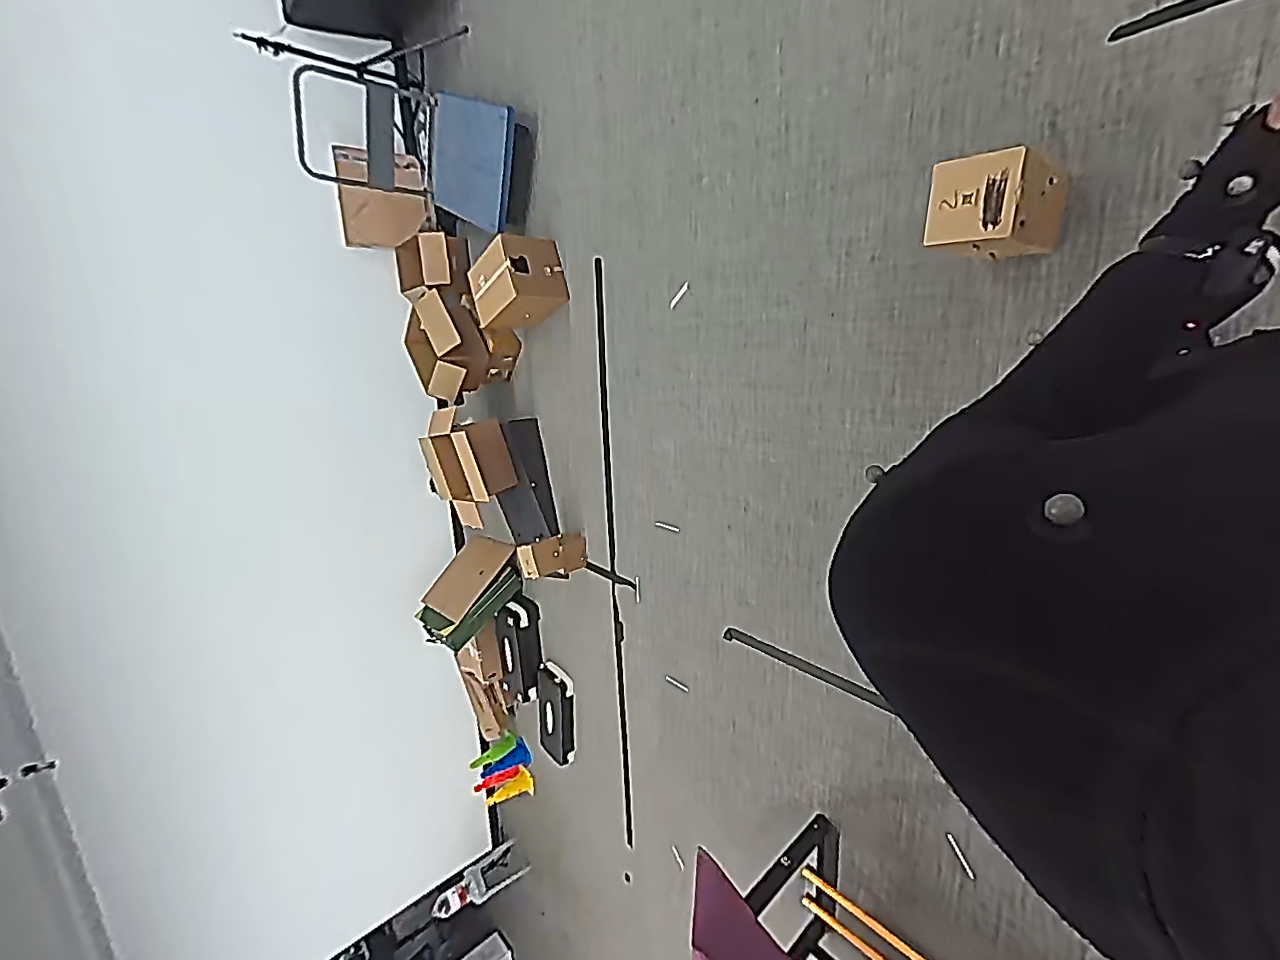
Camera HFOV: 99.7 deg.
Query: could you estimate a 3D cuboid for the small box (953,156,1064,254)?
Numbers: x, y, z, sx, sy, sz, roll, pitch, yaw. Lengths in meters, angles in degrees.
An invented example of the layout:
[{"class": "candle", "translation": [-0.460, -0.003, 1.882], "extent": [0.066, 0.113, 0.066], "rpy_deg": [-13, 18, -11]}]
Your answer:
[{"class": "small box", "translation": [0.868, -0.634, 1.273], "extent": [0.168, 0.176, 0.179], "rpy_deg": [16, 112, 47]}]
